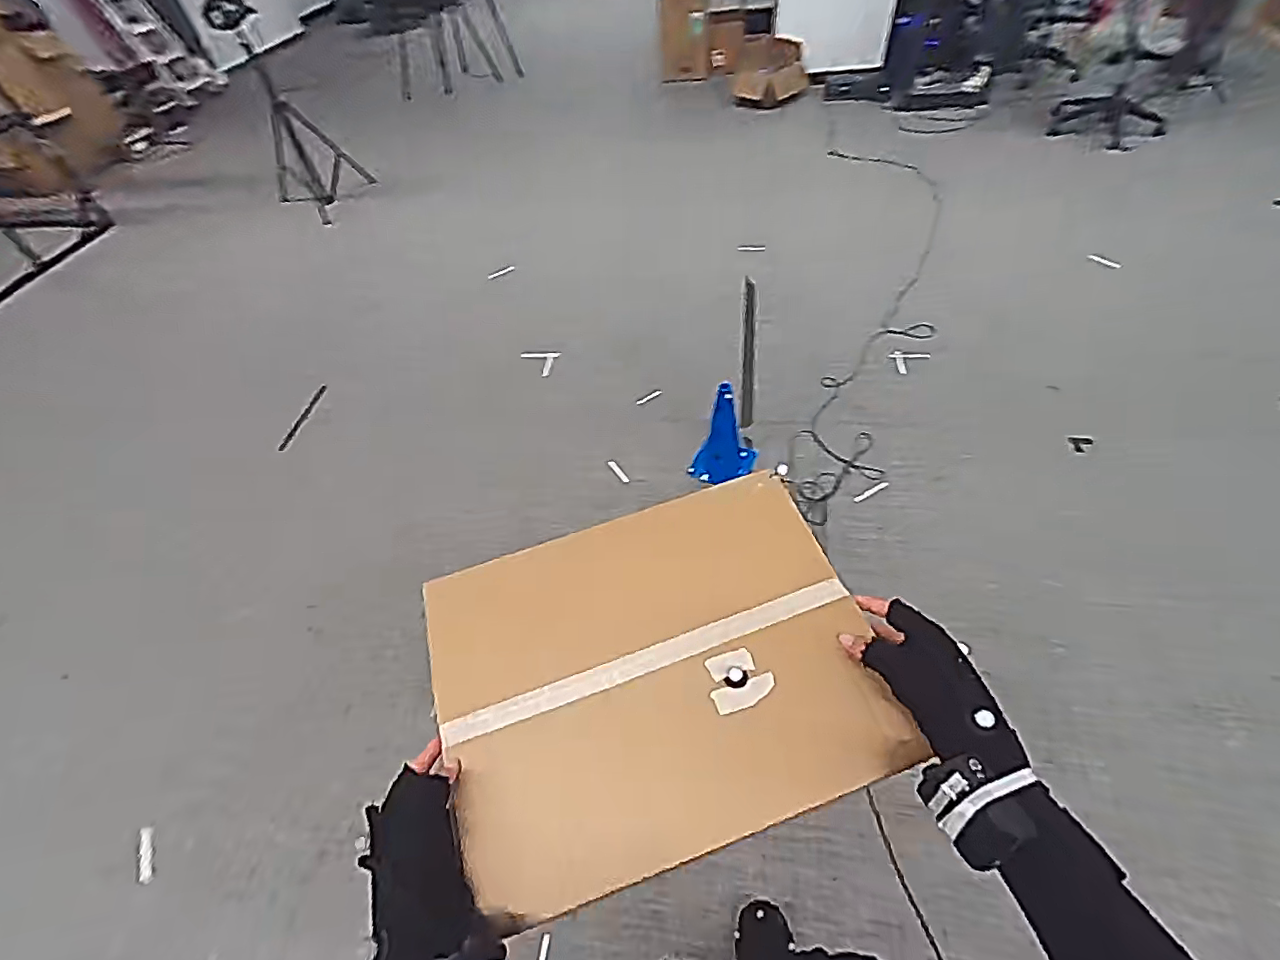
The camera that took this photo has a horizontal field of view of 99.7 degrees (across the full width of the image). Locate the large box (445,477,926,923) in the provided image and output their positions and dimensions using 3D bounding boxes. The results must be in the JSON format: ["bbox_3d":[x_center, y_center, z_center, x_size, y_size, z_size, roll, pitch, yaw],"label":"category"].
[{"bbox_3d":[0.030,0.257,0.652,0.408,0.320,0.320,-17,57,-6],"label":"large box"}]

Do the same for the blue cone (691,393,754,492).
[{"bbox_3d":[0.279,-0.145,1.802,0.193,0.380,0.192,20,56,23],"label":"blue cone"}]
